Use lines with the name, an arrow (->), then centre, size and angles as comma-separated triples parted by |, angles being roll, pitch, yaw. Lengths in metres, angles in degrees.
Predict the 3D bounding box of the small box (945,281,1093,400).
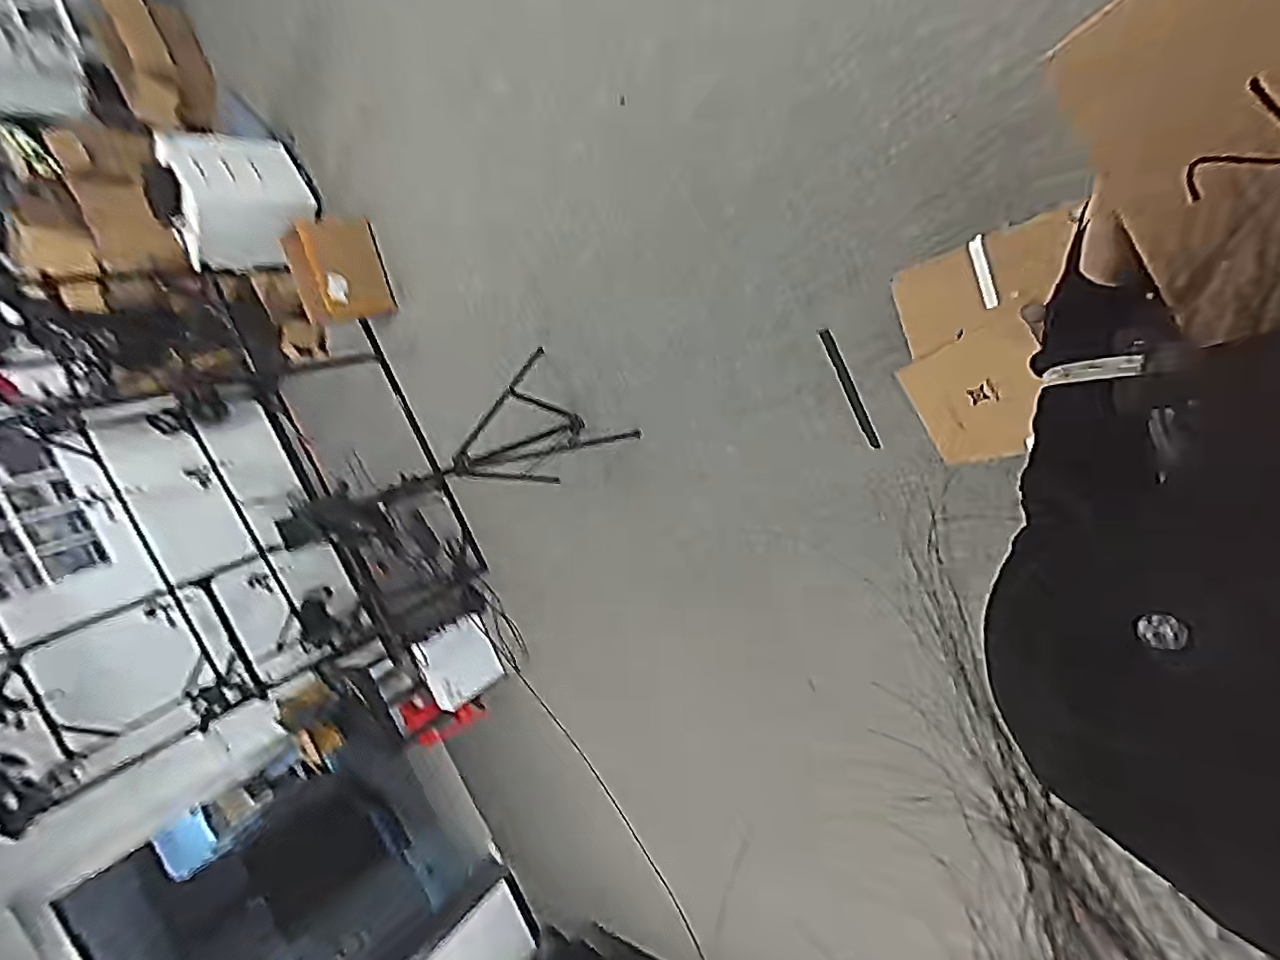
small box -> 0.641, -0.216, 0.909 | 0.168, 0.176, 0.179 | -10, 102, 44

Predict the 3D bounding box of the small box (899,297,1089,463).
small box -> 0.530, -0.152, 0.807 | 0.179, 0.176, 0.168 | -32, 87, 47
